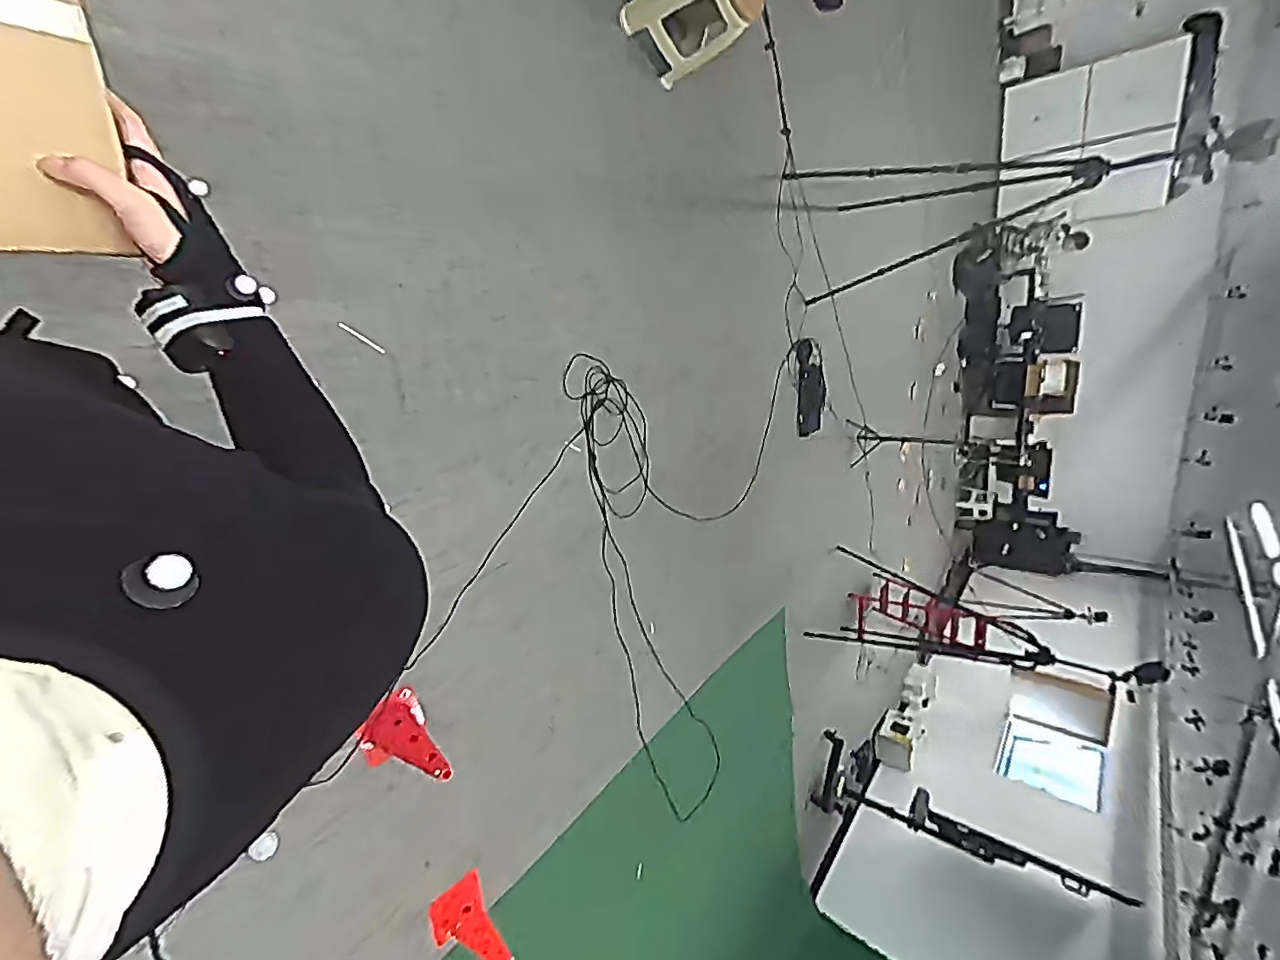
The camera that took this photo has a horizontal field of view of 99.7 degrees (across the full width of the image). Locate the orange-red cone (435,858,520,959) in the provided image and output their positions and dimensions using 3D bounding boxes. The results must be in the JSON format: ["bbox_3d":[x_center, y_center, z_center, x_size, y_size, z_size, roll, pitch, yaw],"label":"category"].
[{"bbox_3d":[-0.556,1.598,1.957,0.199,0.360,0.198,-19,111,-48],"label":"orange-red cone"}]
